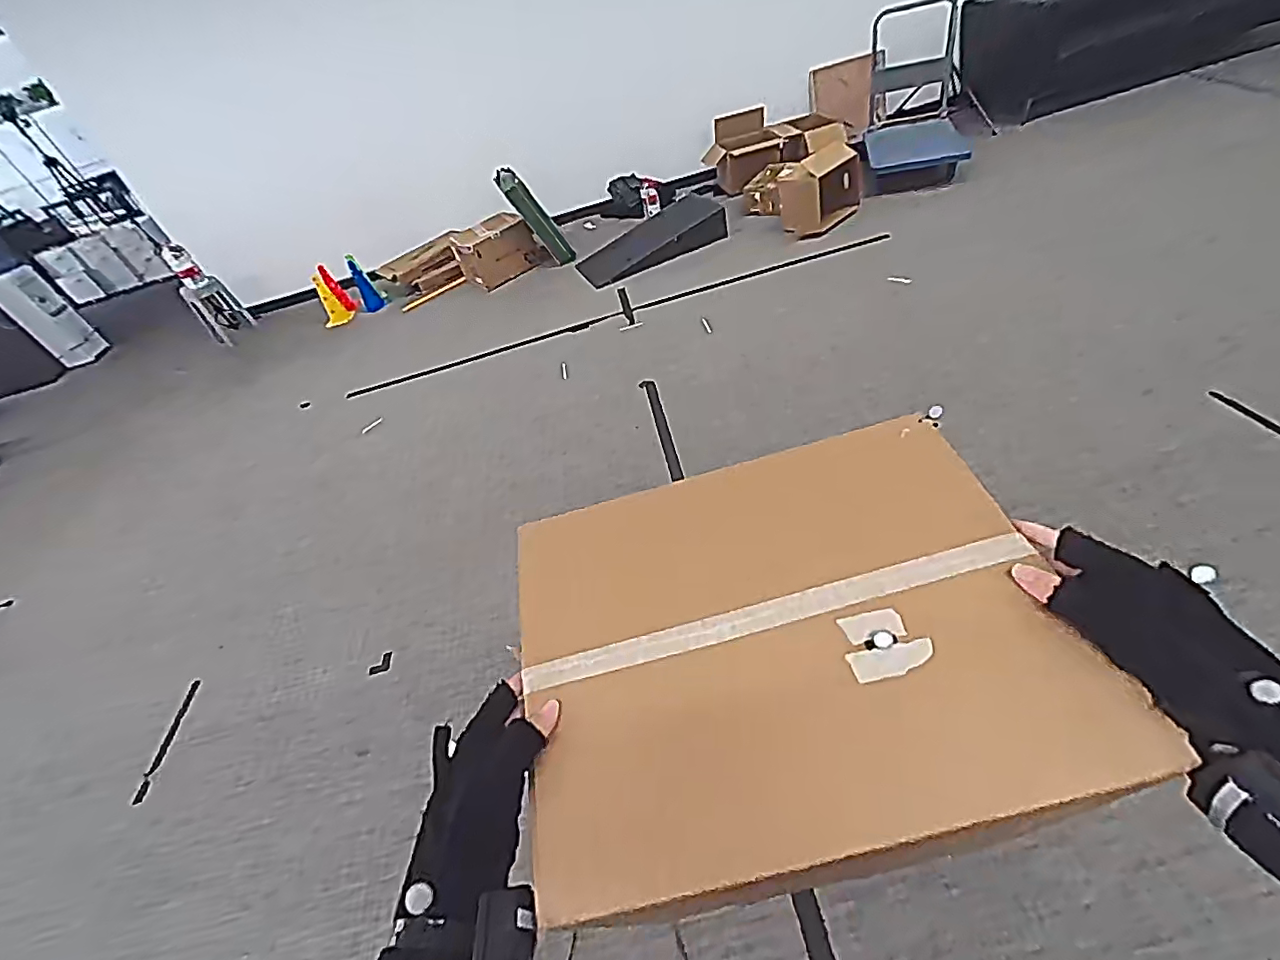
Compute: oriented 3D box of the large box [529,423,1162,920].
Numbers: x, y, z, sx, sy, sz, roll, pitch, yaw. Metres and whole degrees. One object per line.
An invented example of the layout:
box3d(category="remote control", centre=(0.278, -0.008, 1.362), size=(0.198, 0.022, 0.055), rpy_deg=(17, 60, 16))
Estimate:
box3d(category="large box", centre=(0.137, 0.203, 0.548), size=(0.408, 0.320, 0.320), rpy_deg=(-16, 50, 2))
